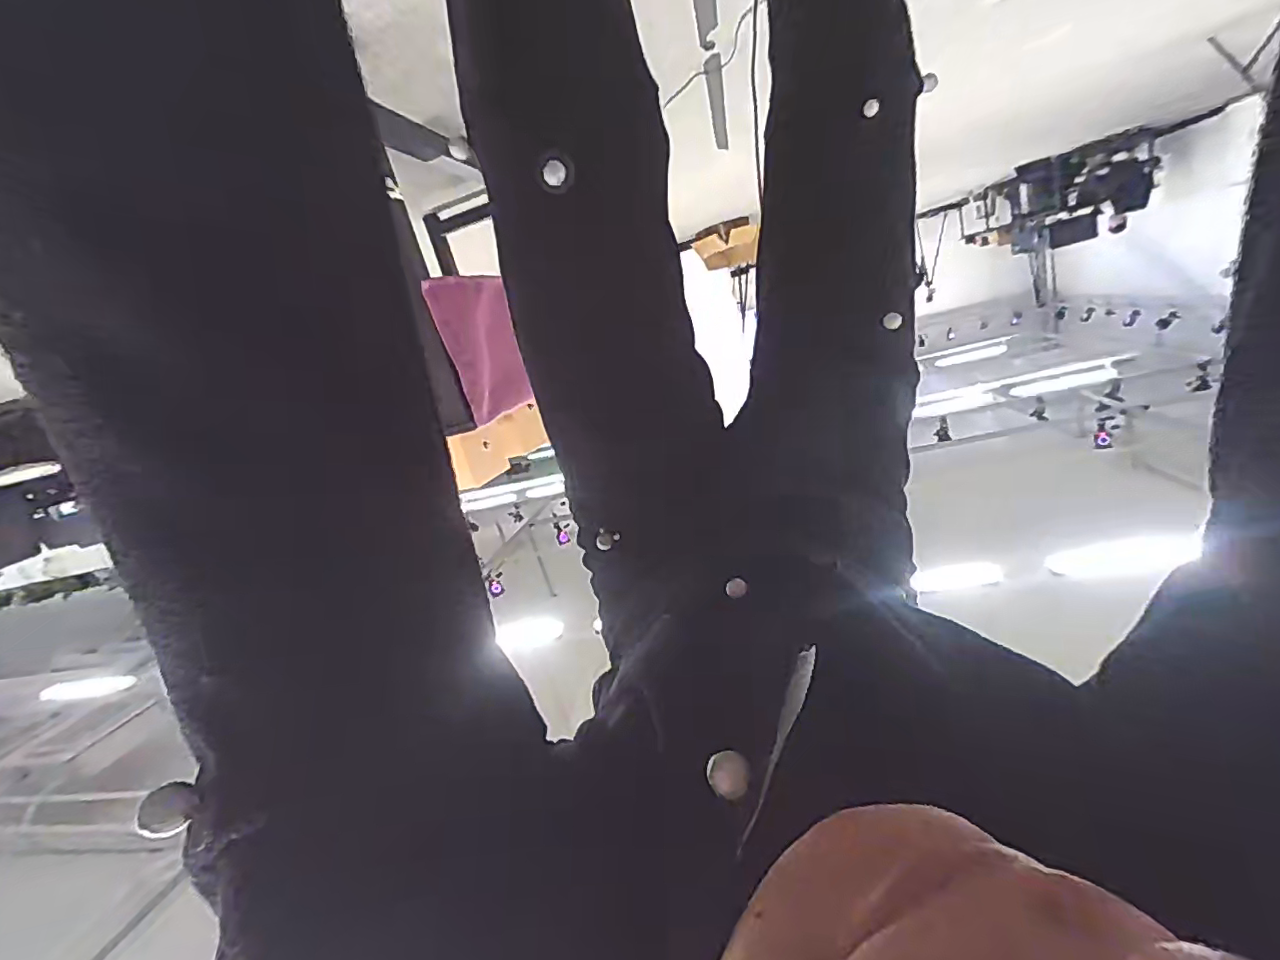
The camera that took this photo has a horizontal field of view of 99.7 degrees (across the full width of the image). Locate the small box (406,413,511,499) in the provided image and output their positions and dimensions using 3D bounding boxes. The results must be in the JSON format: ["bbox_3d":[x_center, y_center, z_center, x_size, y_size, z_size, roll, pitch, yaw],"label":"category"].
[{"bbox_3d":[-0.478,-0.070,1.428,0.179,0.176,0.168,-10,-163,22],"label":"small box"}]

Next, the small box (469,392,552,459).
[{"bbox_3d":[-0.405,-0.166,1.677,0.179,0.176,0.168,-8,-162,26],"label":"small box"}]
